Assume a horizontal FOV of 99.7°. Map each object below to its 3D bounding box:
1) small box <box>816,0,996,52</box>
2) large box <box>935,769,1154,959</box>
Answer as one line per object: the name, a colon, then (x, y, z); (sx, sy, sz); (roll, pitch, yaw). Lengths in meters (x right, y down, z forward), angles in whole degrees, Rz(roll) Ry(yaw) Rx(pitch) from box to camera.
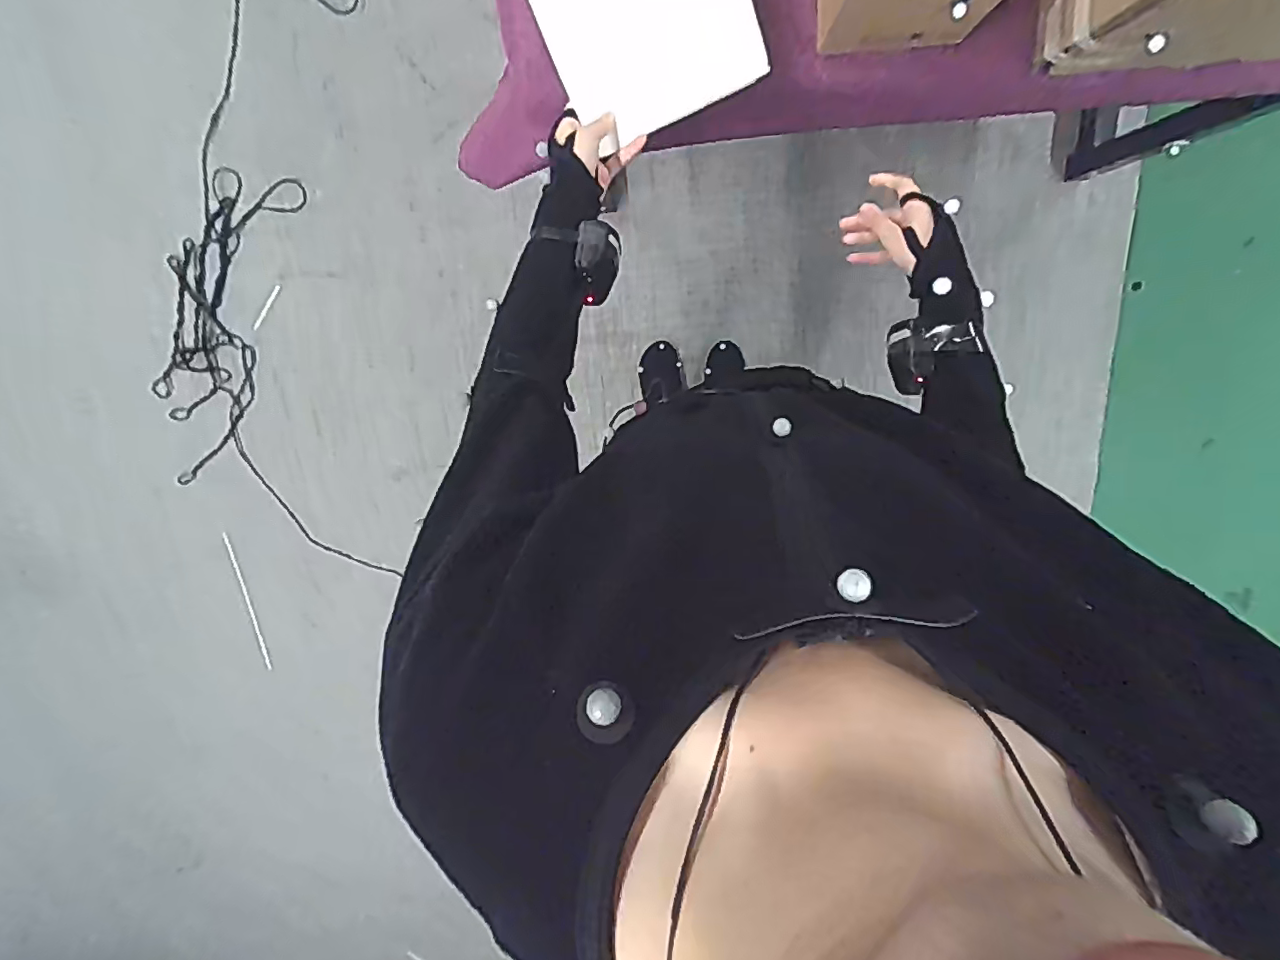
small box: (0.279, -0.559, 0.533); (0.168, 0.176, 0.179); (-2, 103, 2)
large box: (1.189, 1.151, 1.627); (0.408, 0.320, 0.320); (-18, 104, 5)
